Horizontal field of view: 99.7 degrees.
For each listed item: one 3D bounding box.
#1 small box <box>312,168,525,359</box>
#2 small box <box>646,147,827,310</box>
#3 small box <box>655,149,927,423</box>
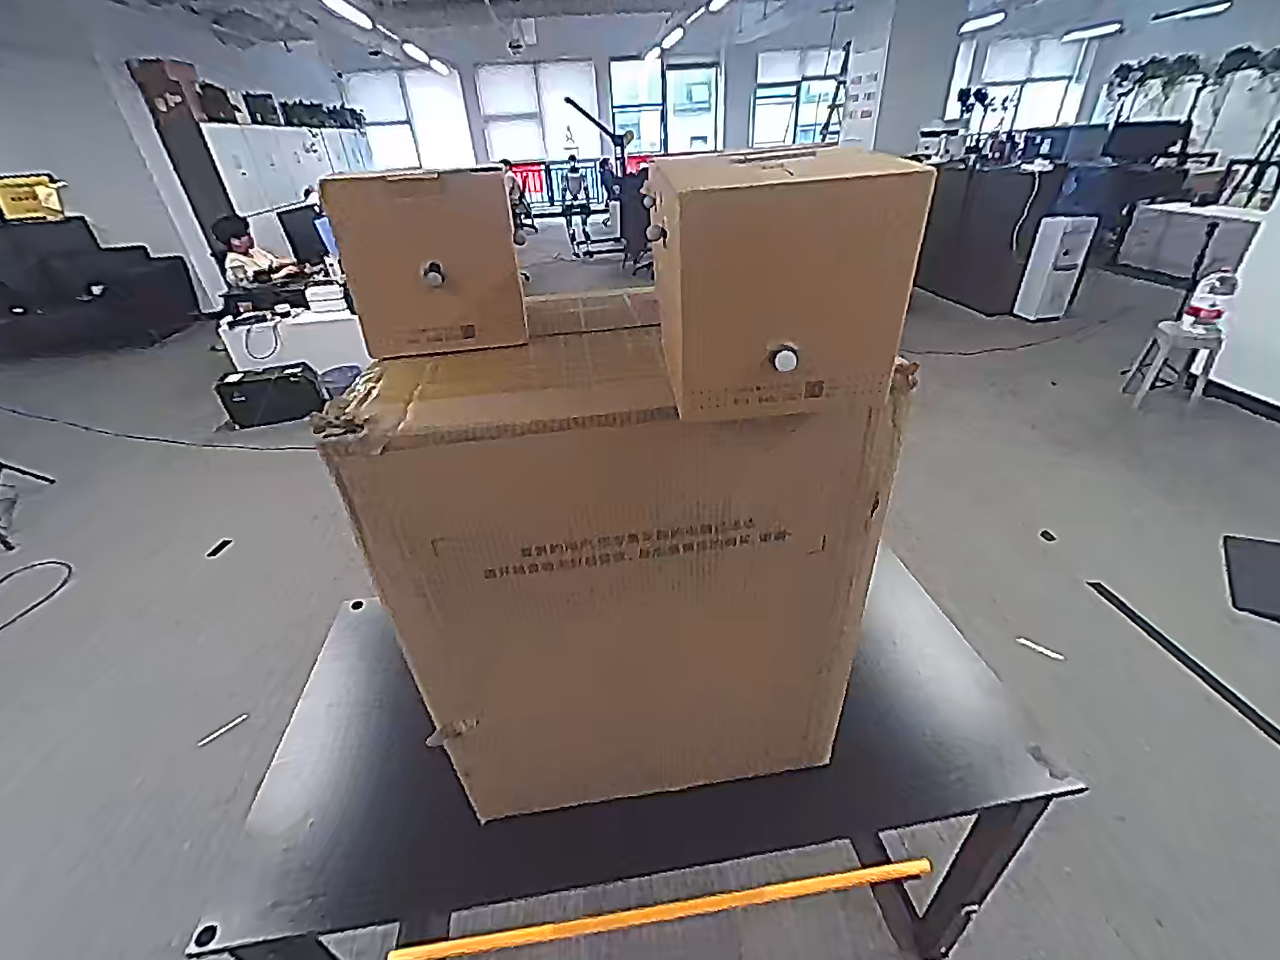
[{"bbox_3d":[-0.224,-0.241,0.603,0.168,0.176,0.179,-9,32,-8],"label":"small box"},{"bbox_3d":[0.099,-0.277,0.624,0.168,0.176,0.179,-7,31,-1],"label":"small box"},{"bbox_3d":[0.101,-0.164,0.450,0.168,0.176,0.179,-6,36,1],"label":"small box"}]
